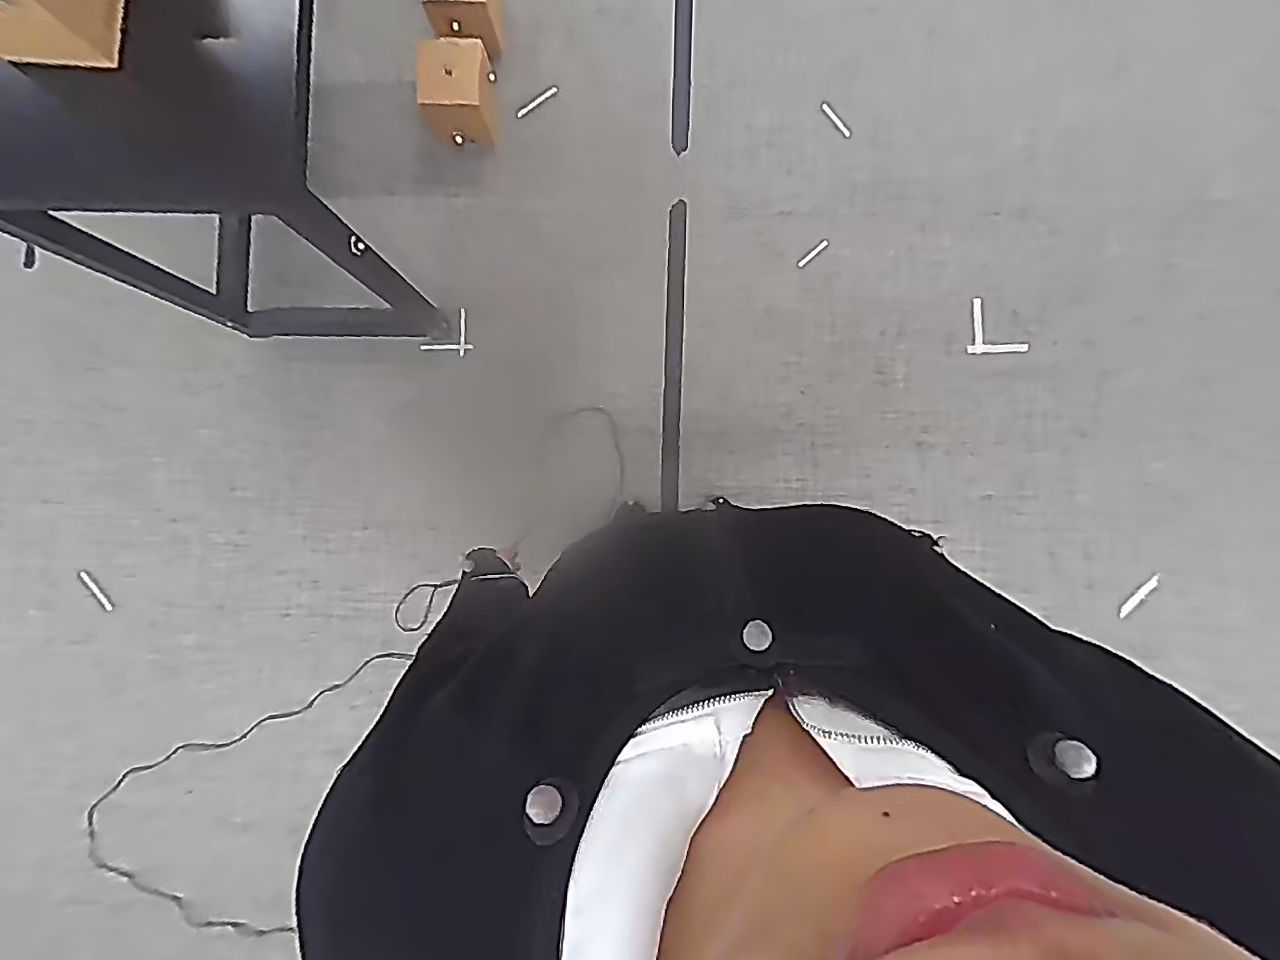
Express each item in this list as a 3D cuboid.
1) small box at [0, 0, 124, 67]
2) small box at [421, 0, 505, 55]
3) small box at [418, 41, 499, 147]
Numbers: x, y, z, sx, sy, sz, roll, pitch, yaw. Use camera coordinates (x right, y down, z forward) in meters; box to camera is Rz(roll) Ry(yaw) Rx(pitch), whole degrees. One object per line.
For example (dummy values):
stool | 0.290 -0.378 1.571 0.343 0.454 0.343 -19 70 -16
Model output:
small box | -0.864 -0.709 0.739 0.179 0.176 0.168 4 88 1
small box | -0.482 -1.313 1.486 0.179 0.176 0.168 0 89 1
small box | -0.491 -1.050 1.479 0.168 0.176 0.179 1 89 1
